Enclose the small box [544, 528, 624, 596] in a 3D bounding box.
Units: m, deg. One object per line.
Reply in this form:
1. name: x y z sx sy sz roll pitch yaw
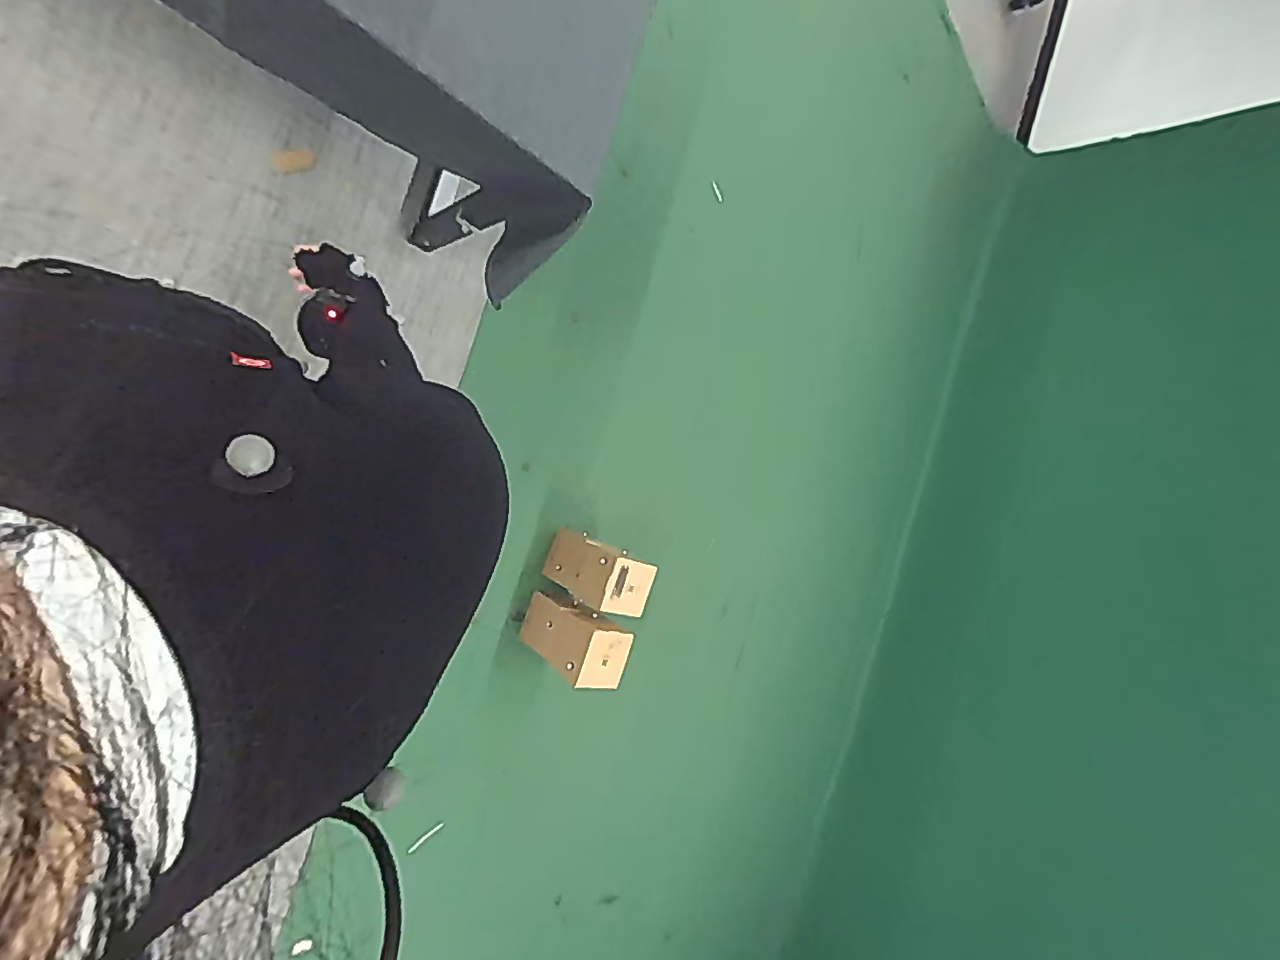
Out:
1. small box: -0.190 0.267 1.794 0.179 0.176 0.168 25 84 -41
